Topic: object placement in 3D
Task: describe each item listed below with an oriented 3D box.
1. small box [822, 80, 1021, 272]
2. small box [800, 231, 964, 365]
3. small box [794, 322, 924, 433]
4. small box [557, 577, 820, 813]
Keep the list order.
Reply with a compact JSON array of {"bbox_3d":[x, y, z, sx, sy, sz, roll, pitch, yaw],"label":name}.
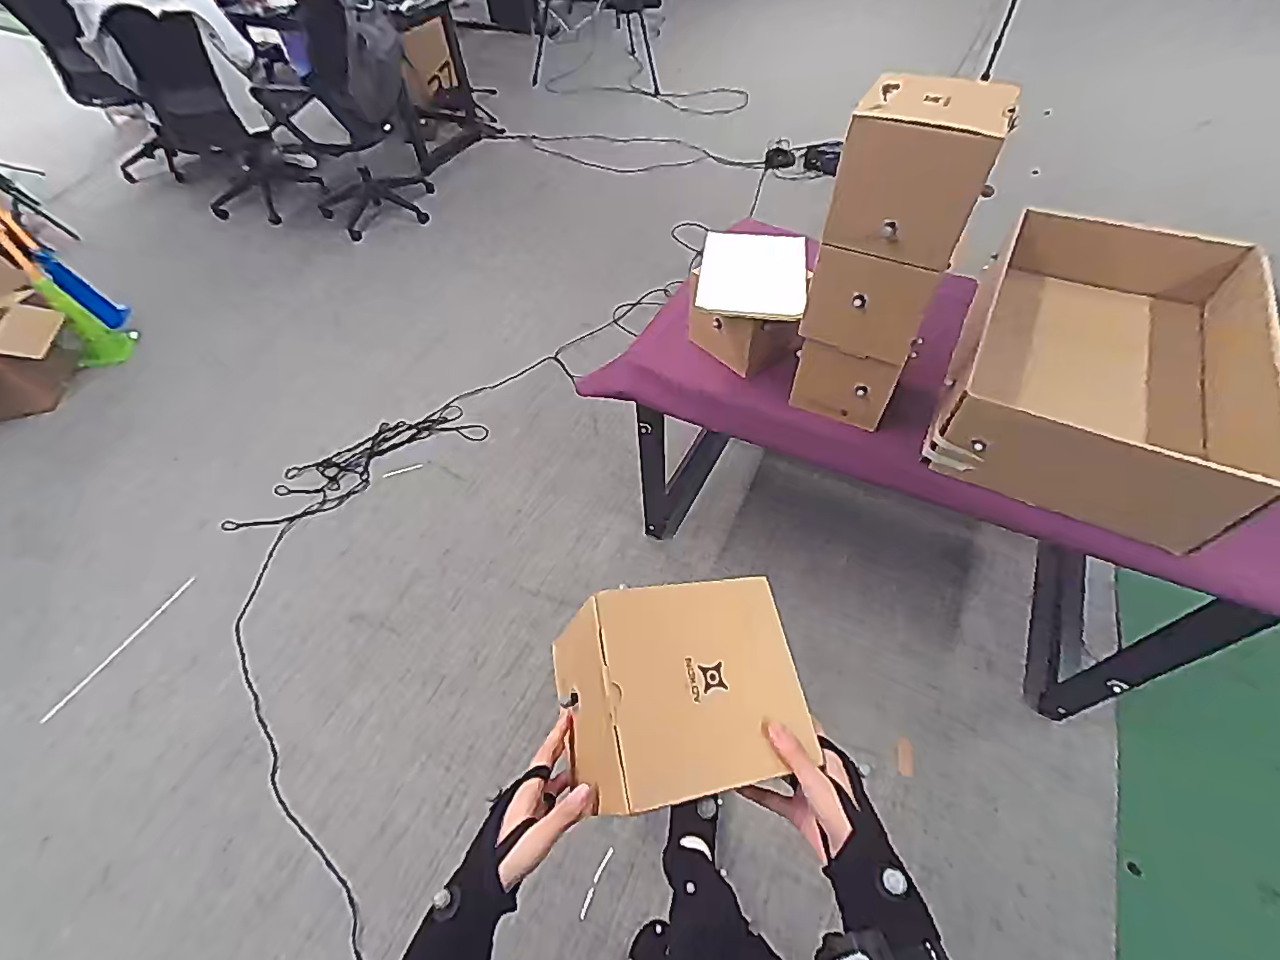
[{"bbox_3d":[0.374,-0.411,0.739,0.179,0.176,0.168,23,56,18],"label":"small box"},{"bbox_3d":[0.380,-0.310,0.869,0.179,0.176,0.168,23,56,20],"label":"small box"},{"bbox_3d":[0.398,-0.215,1.001,0.168,0.176,0.179,23,56,19],"label":"small box"},{"bbox_3d":[0.030,0.202,0.514,0.179,0.176,0.168,-1,60,-21],"label":"small box"}]
